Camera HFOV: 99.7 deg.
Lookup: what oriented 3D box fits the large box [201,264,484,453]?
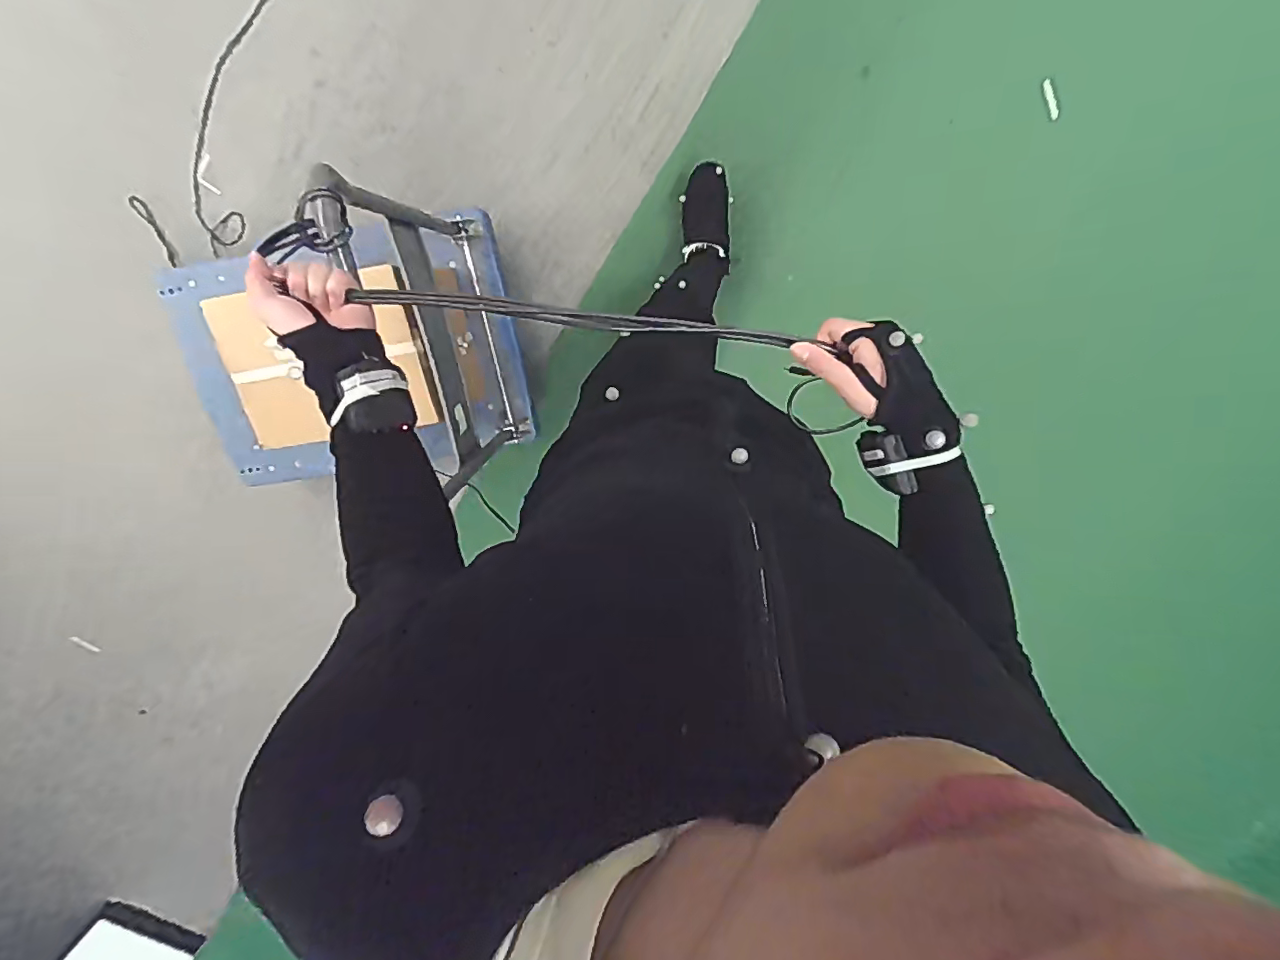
[{"bbox_3d":[-0.622,-0.280,1.211,0.408,0.320,0.320,-8,109,7],"label":"large box"}]
